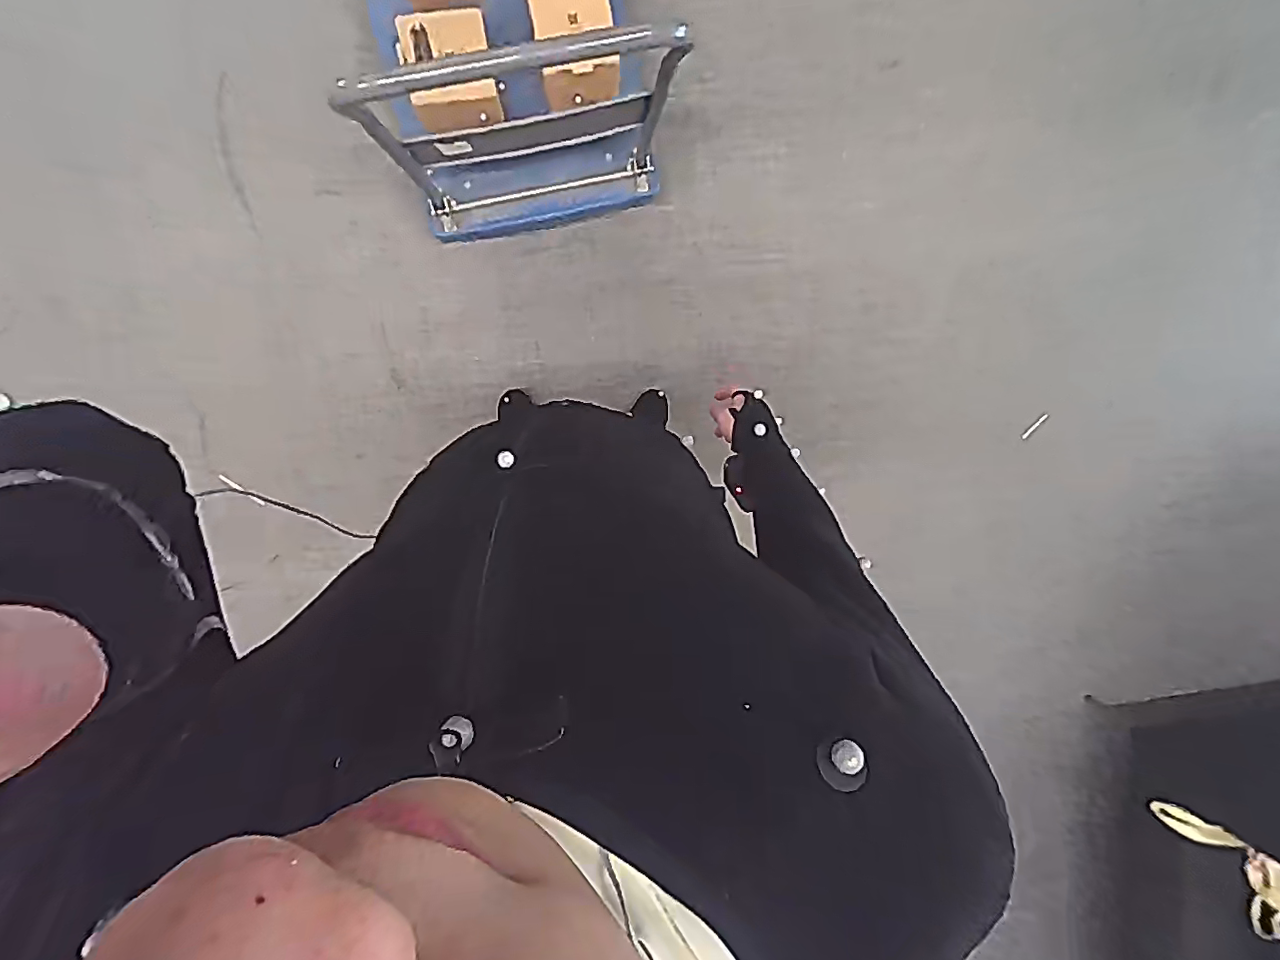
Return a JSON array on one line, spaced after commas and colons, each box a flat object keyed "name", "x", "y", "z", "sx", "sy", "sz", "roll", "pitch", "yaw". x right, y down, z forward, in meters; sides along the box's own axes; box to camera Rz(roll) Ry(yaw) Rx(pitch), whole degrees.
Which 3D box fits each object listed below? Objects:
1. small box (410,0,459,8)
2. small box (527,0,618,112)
[{"name": "small box", "x": -0.448, "y": -1.142, "z": 1.132, "sx": 0.168, "sy": 0.176, "sz": 0.179, "roll": -17, "pitch": 102, "yaw": -2}, {"name": "small box", "x": -0.149, "y": -0.957, "z": 1.193, "sx": 0.168, "sy": 0.176, "sz": 0.179, "roll": -12, "pitch": 102, "yaw": -3}]
